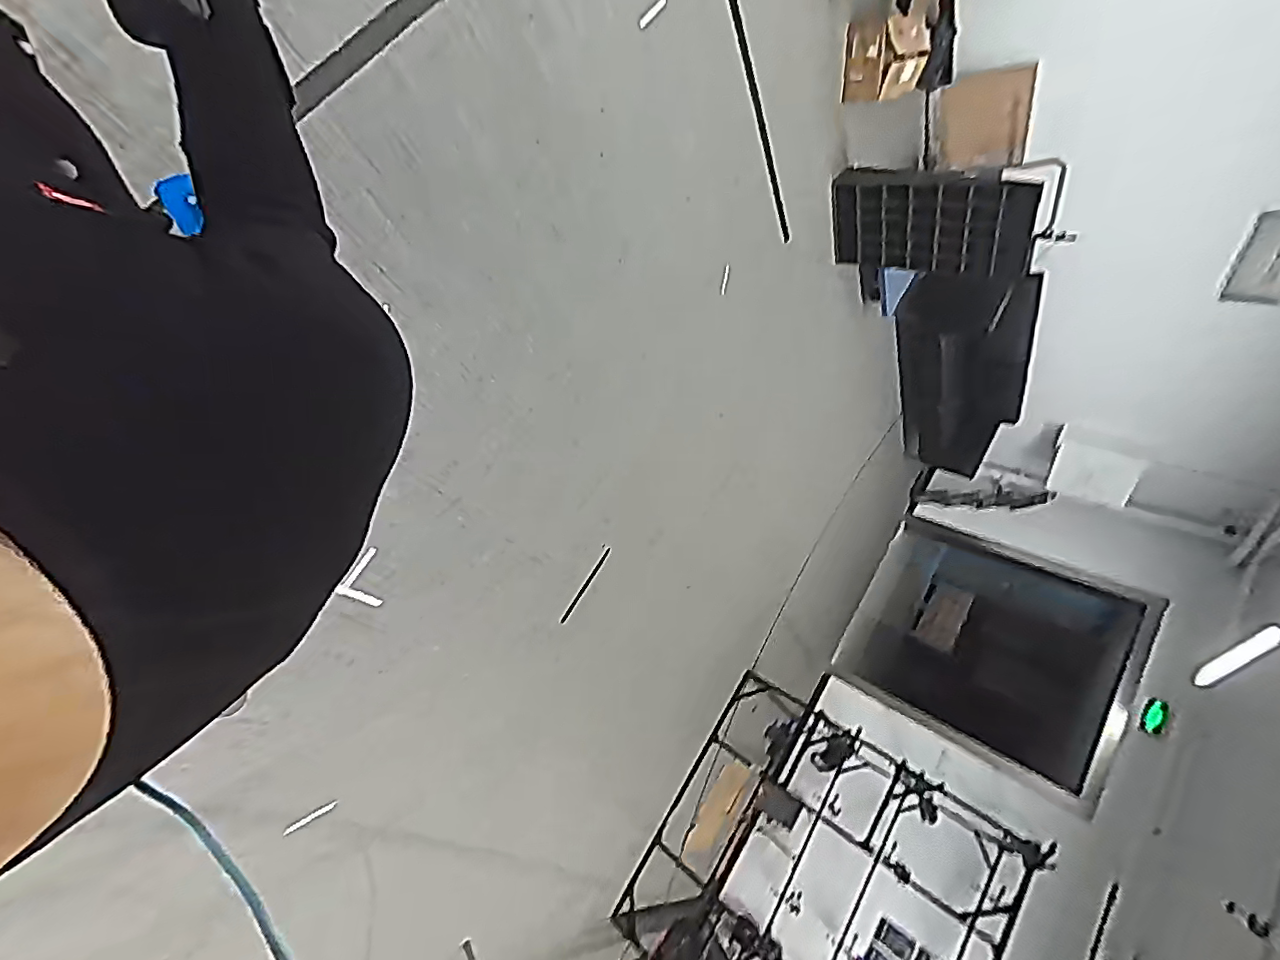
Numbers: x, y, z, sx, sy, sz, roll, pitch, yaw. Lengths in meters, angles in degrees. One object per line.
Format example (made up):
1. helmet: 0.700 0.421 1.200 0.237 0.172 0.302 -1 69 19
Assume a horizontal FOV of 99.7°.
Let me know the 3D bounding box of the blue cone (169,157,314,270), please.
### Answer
1. blue cone: -0.735 -0.510 1.054 0.192 0.380 0.193 -41 136 -31
